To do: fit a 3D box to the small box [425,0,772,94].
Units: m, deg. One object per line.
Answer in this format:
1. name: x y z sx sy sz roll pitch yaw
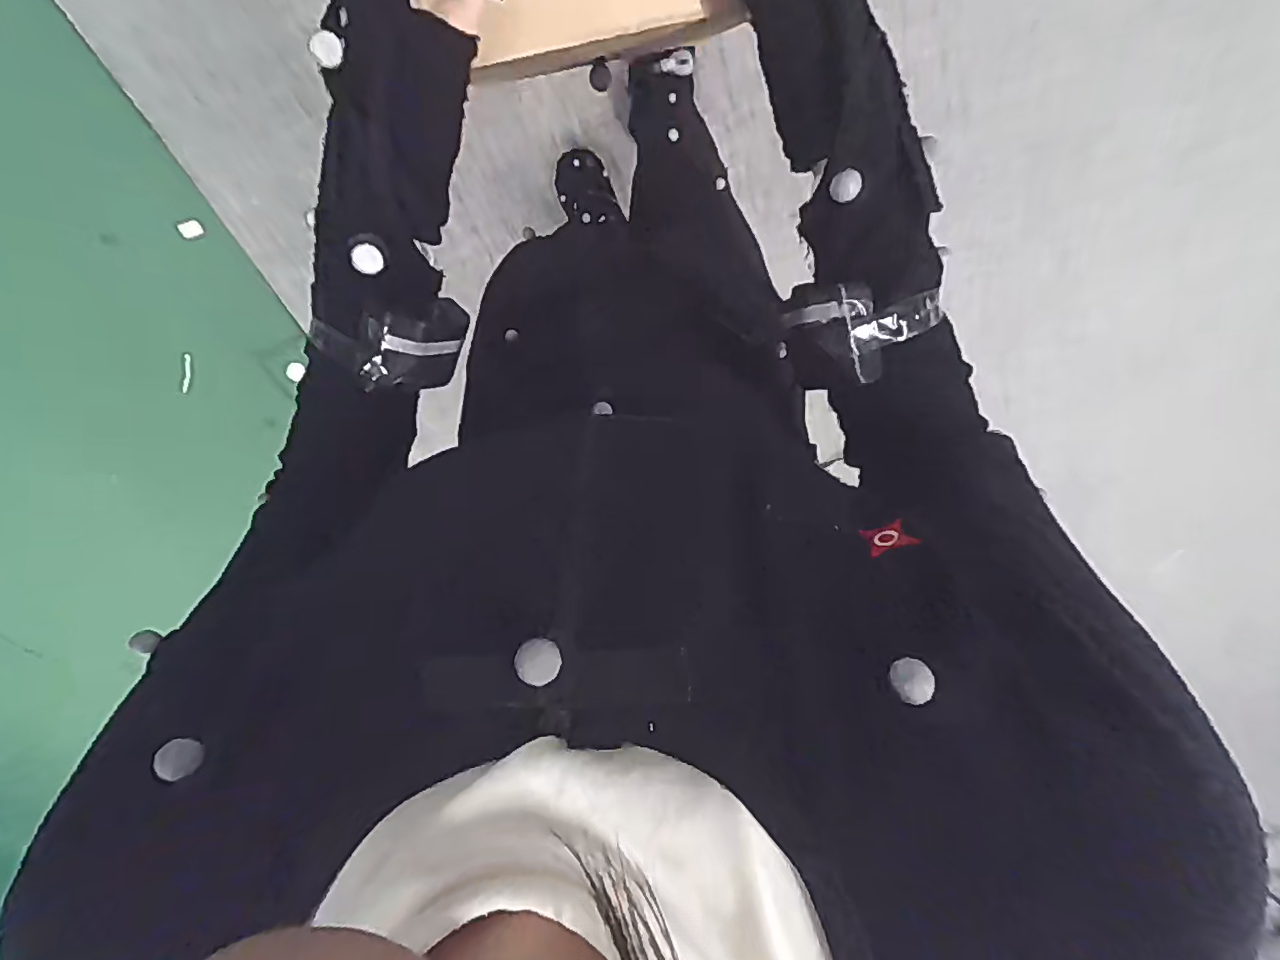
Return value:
1. small box: -0.040 -0.333 0.297 0.179 0.176 0.168 -14 125 2
